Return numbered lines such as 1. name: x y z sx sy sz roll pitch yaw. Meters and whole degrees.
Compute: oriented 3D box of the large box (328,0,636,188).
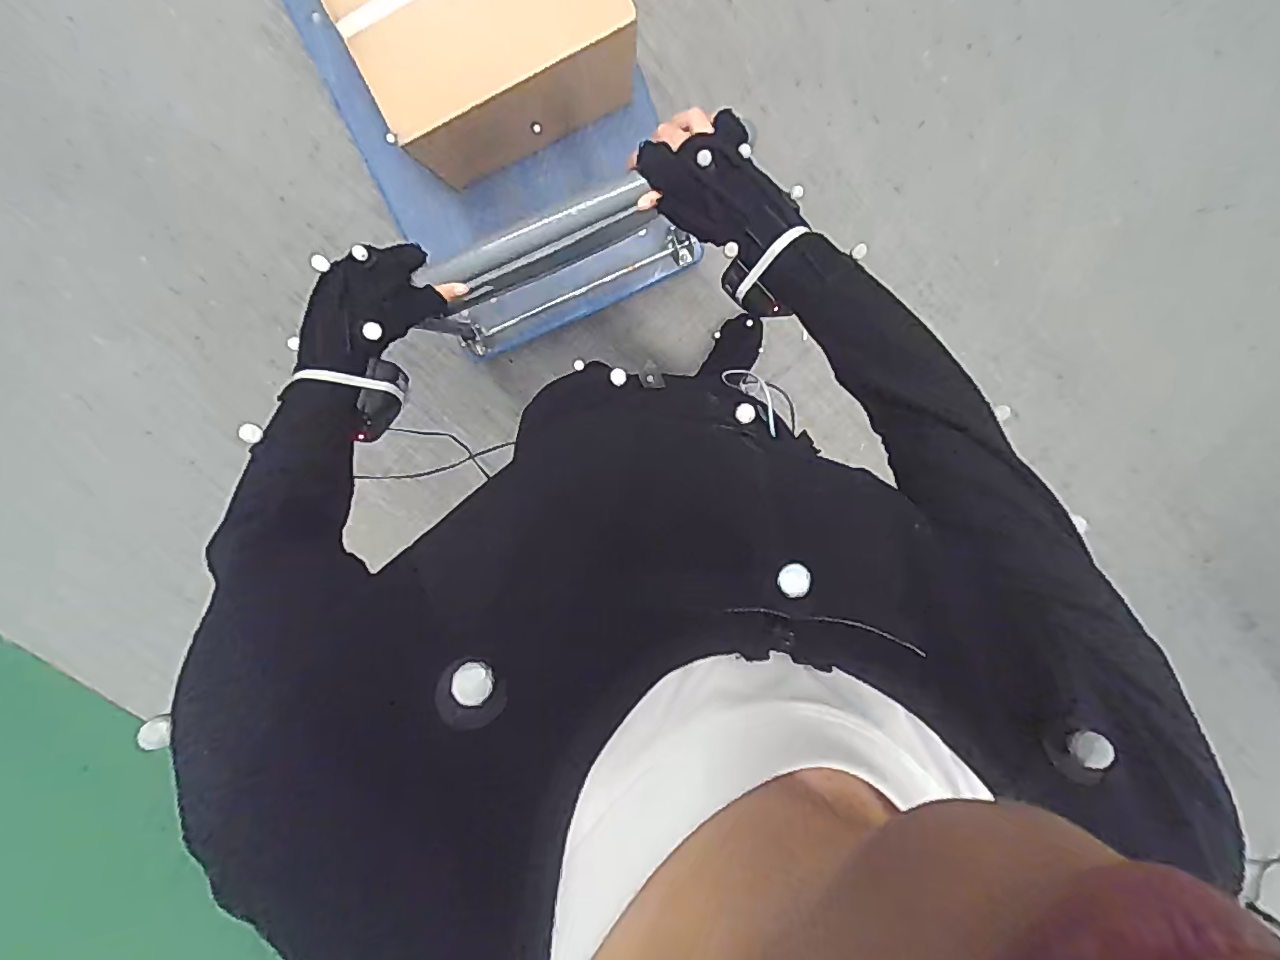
1. large box: -0.250 -0.771 0.923 0.408 0.320 0.320 -24 105 6
